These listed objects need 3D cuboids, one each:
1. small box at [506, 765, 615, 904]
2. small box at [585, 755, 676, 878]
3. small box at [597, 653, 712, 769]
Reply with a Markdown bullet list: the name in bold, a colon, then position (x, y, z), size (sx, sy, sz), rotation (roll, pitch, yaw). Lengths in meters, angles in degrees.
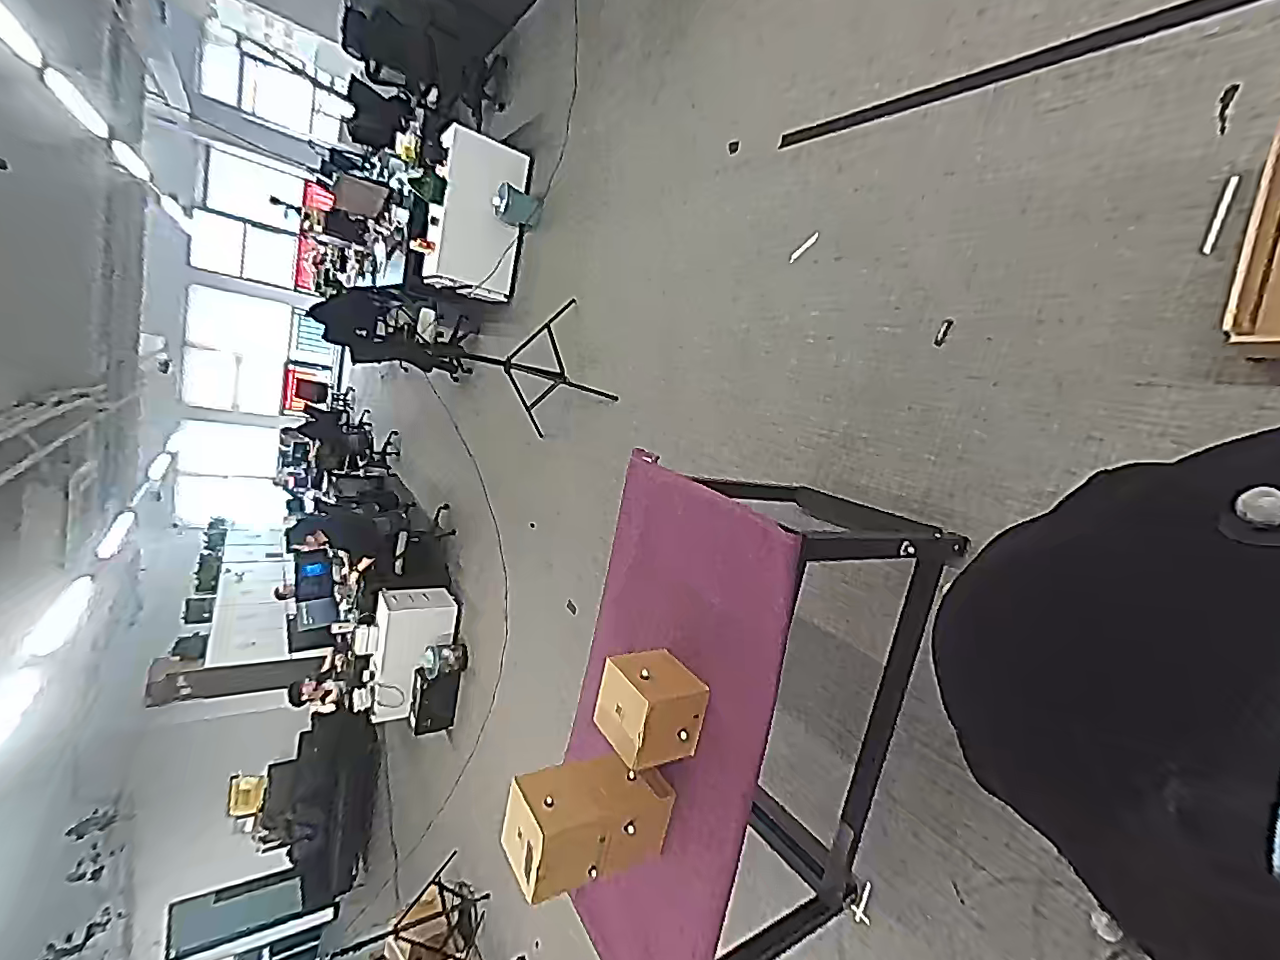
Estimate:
- **small box**: position (-0.173, 0.758, 1.182), size (0.179, 0.176, 0.168), rotation (24, 105, 54)
- **small box**: position (-0.035, 0.771, 1.270), size (0.168, 0.176, 0.179), rotation (27, 108, 53)
- **small box**: position (0.031, 0.504, 1.210), size (0.179, 0.176, 0.168), rotation (27, 108, 53)
